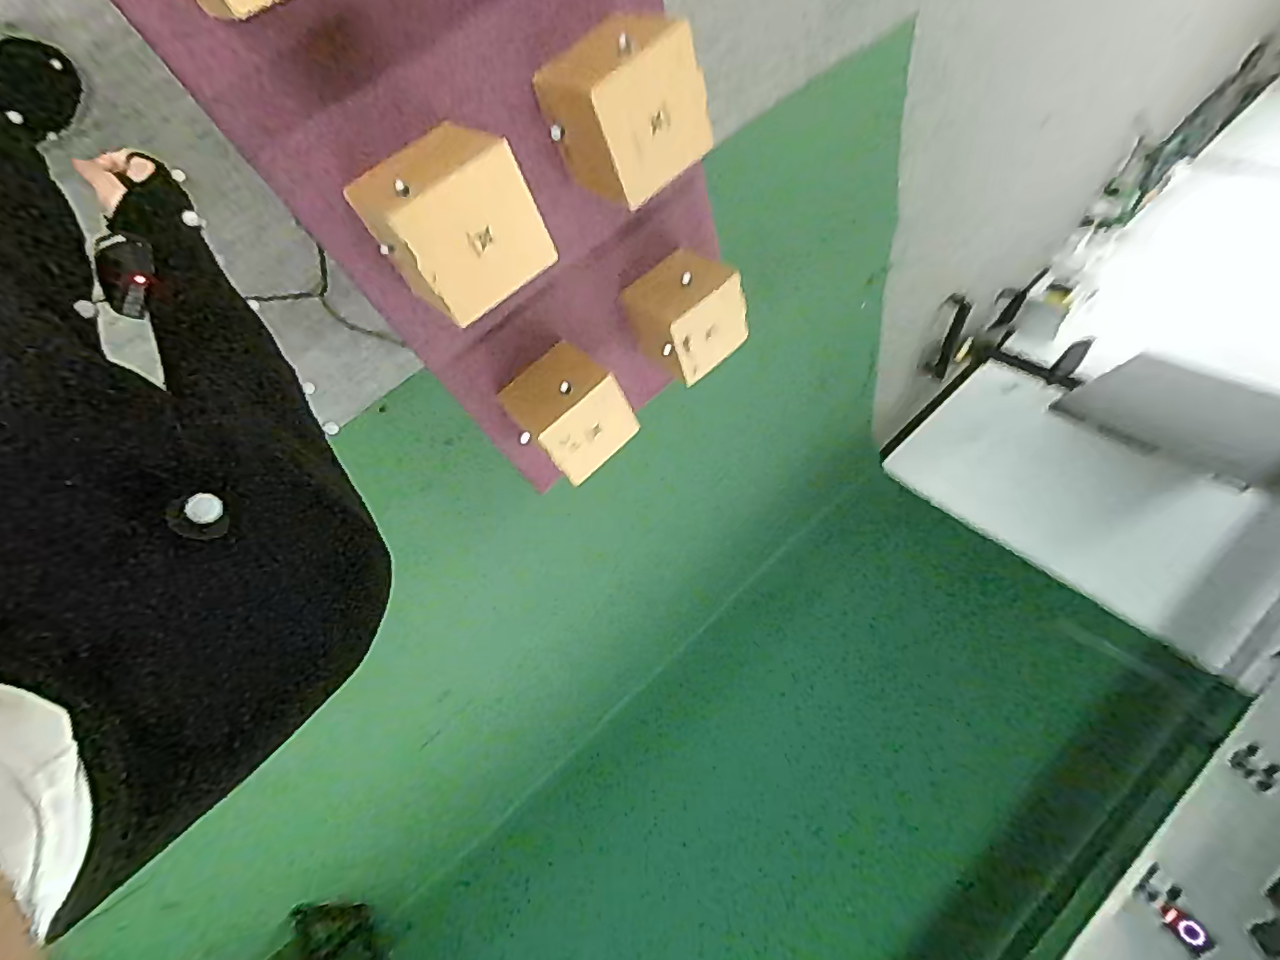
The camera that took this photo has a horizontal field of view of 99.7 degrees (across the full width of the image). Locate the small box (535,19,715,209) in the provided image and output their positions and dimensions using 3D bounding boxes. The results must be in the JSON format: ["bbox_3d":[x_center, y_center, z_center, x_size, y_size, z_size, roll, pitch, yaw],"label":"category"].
[{"bbox_3d":[-0.020,-0.540,0.793,0.179,0.176,0.168,-41,143,-9],"label":"small box"}]

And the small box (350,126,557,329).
[{"bbox_3d":[-0.250,-0.346,0.732,0.179,0.176,0.168,-41,144,-11],"label":"small box"}]

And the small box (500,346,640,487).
[{"bbox_3d":[-0.135,-0.127,1.043,0.179,0.176,0.168,-42,142,-9],"label":"small box"}]

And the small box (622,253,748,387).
[{"bbox_3d":[0.093,-0.330,1.100,0.179,0.176,0.168,-41,142,-11],"label":"small box"}]
